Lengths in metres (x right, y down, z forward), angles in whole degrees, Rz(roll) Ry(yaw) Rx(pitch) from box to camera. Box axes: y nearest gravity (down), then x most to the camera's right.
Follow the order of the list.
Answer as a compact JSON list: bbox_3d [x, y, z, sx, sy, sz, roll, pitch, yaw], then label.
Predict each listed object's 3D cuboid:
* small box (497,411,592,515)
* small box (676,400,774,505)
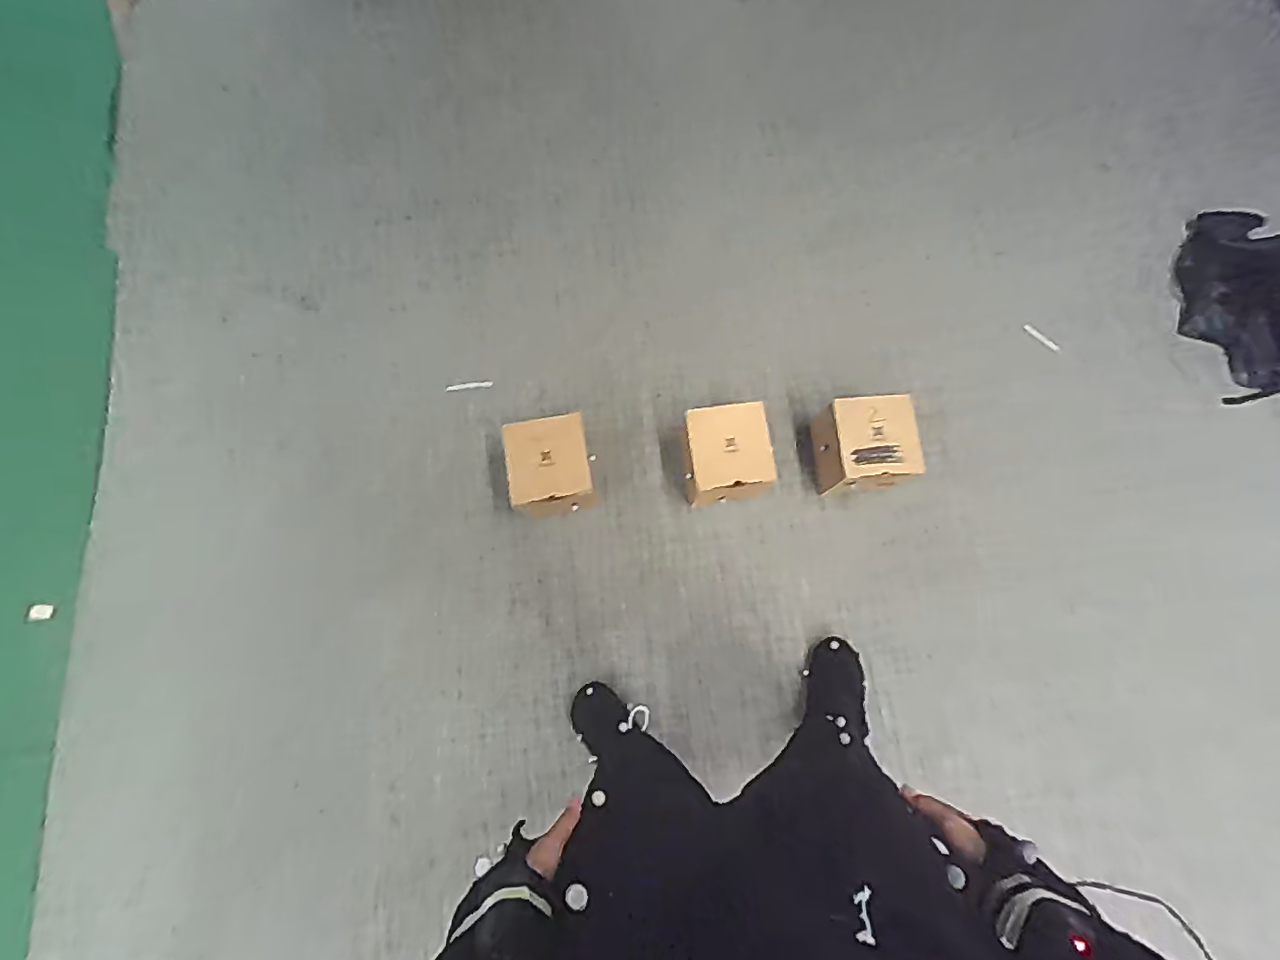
[{"bbox_3d":[-0.198,-0.028,1.163,0.168,0.176,0.179,-10,75,-4],"label":"small box"},{"bbox_3d":[0.176,-0.055,1.174,0.168,0.176,0.179,-7,76,-3],"label":"small box"}]
